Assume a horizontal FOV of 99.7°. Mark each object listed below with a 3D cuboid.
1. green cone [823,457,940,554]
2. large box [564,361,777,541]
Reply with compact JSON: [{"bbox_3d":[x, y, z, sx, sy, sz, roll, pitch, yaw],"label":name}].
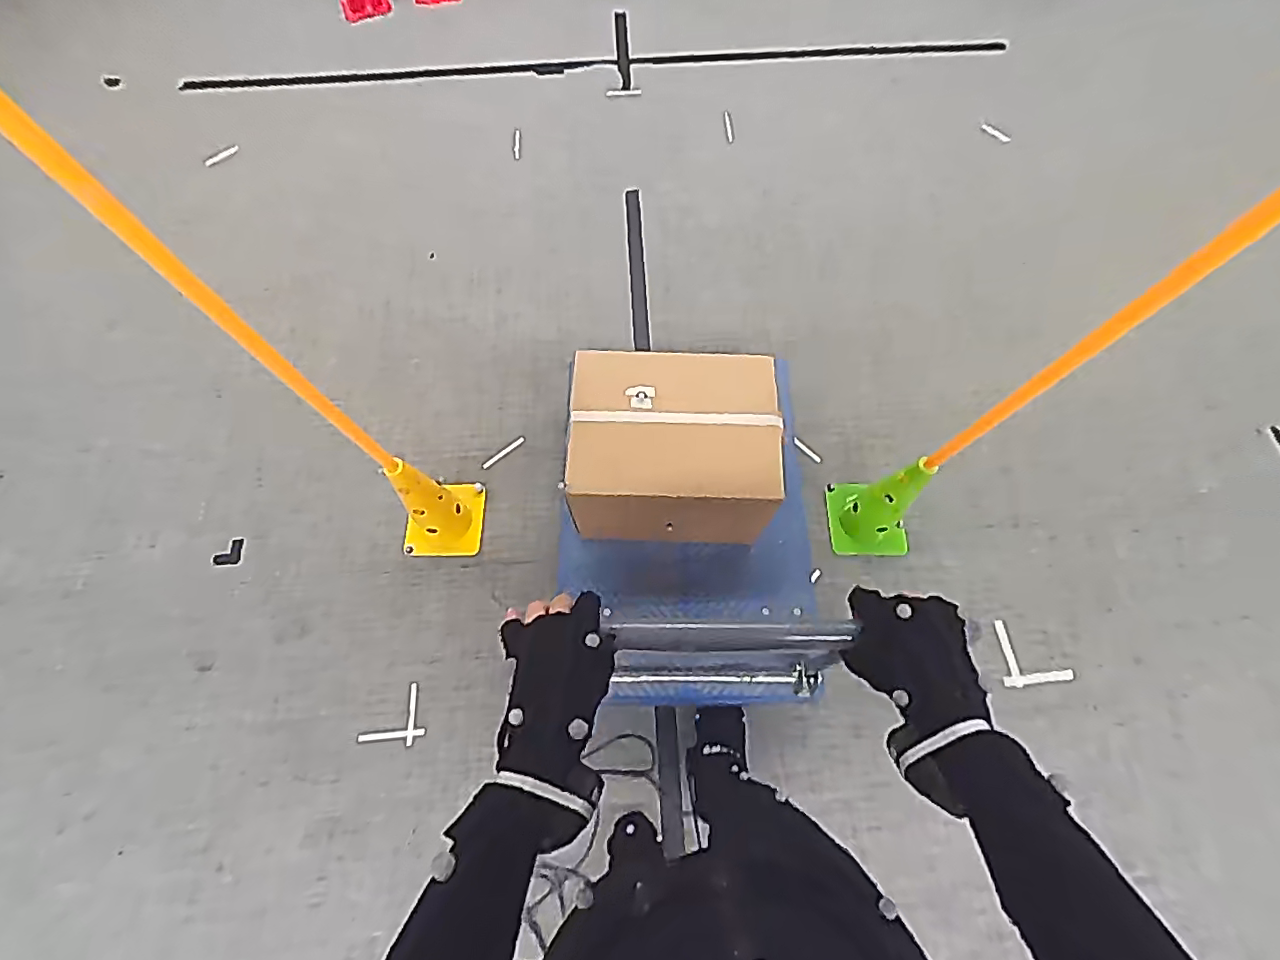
[{"bbox_3d":[0.610,0.040,1.313,0.202,0.368,0.200,0,68,-1],"label":"green cone"},{"bbox_3d":[0.063,-0.049,1.195,0.408,0.320,0.320,1,68,1],"label":"large box"}]
